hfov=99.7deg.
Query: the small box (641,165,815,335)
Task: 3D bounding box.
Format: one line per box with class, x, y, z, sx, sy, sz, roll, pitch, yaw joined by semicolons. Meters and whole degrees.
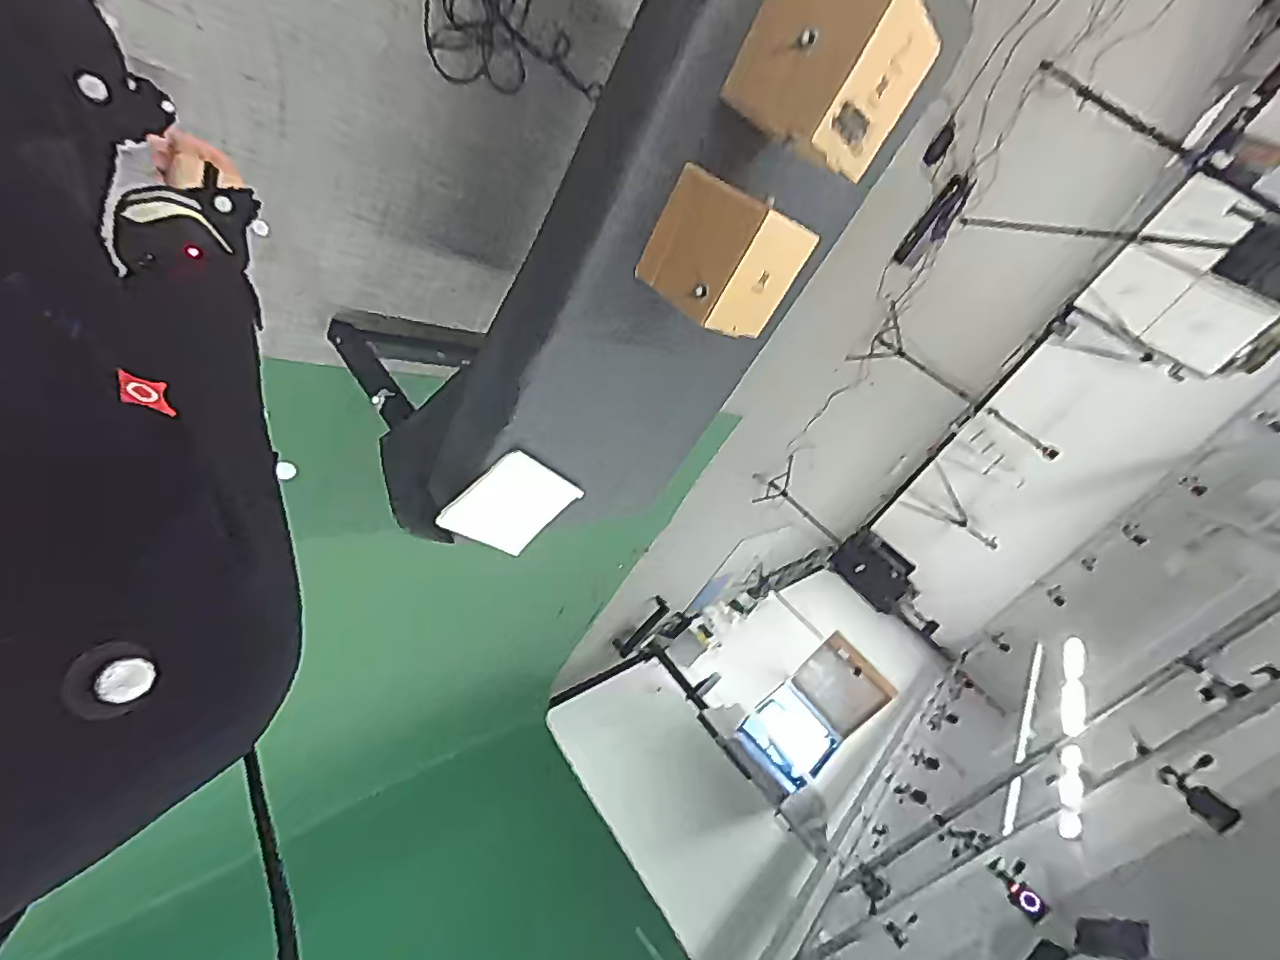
small box;0.130;-0.353;0.842;0.168;0.176;0.179;-9;139;-49
